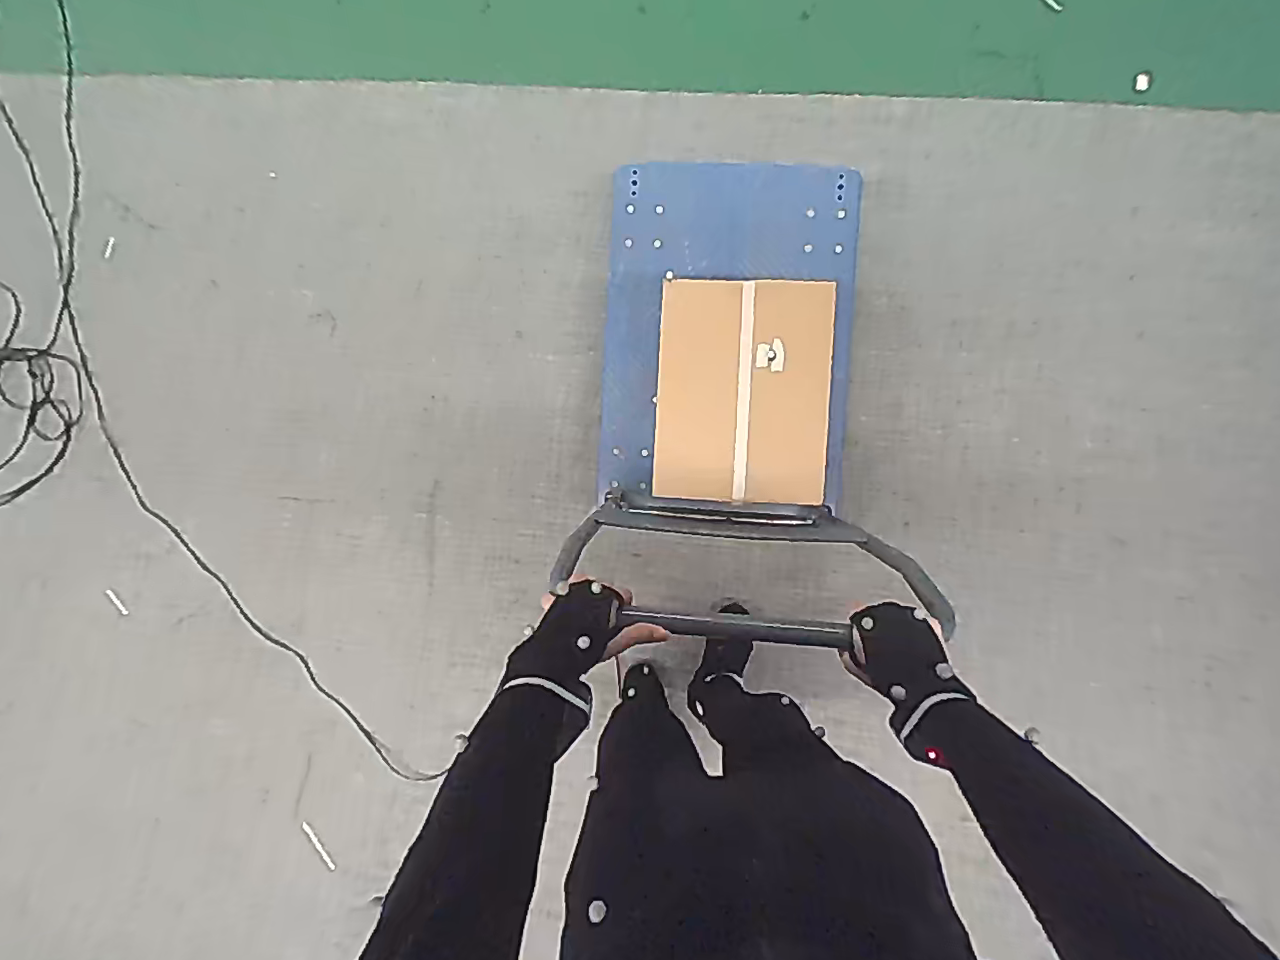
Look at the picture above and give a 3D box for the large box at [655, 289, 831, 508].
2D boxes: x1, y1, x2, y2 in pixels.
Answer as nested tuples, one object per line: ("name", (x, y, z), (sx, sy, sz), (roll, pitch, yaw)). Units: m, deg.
("large box", (0.201, -0.151, 1.139), (0.320, 0.320, 0.408), (3, 91, 4))
